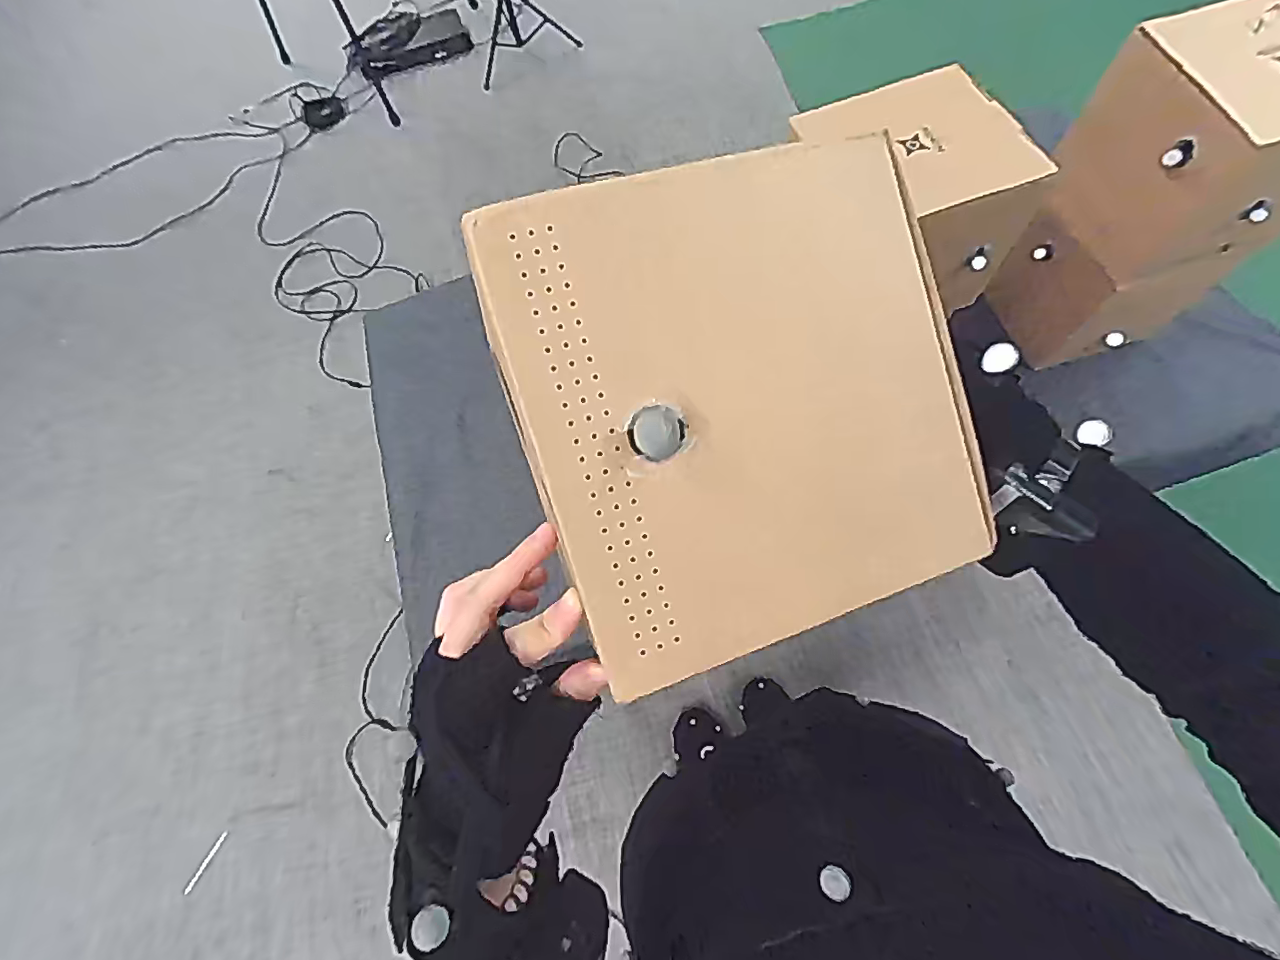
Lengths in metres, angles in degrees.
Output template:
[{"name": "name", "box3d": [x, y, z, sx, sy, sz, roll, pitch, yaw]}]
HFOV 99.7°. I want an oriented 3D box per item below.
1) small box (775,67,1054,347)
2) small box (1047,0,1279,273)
[{"name": "small box", "box3d": [0.258, -0.271, 0.563, 0.179, 0.176, 0.168, -19, 66, -1]}, {"name": "small box", "box3d": [0.571, -0.338, 0.552, 0.168, 0.176, 0.179, -14, 67, 1]}]
